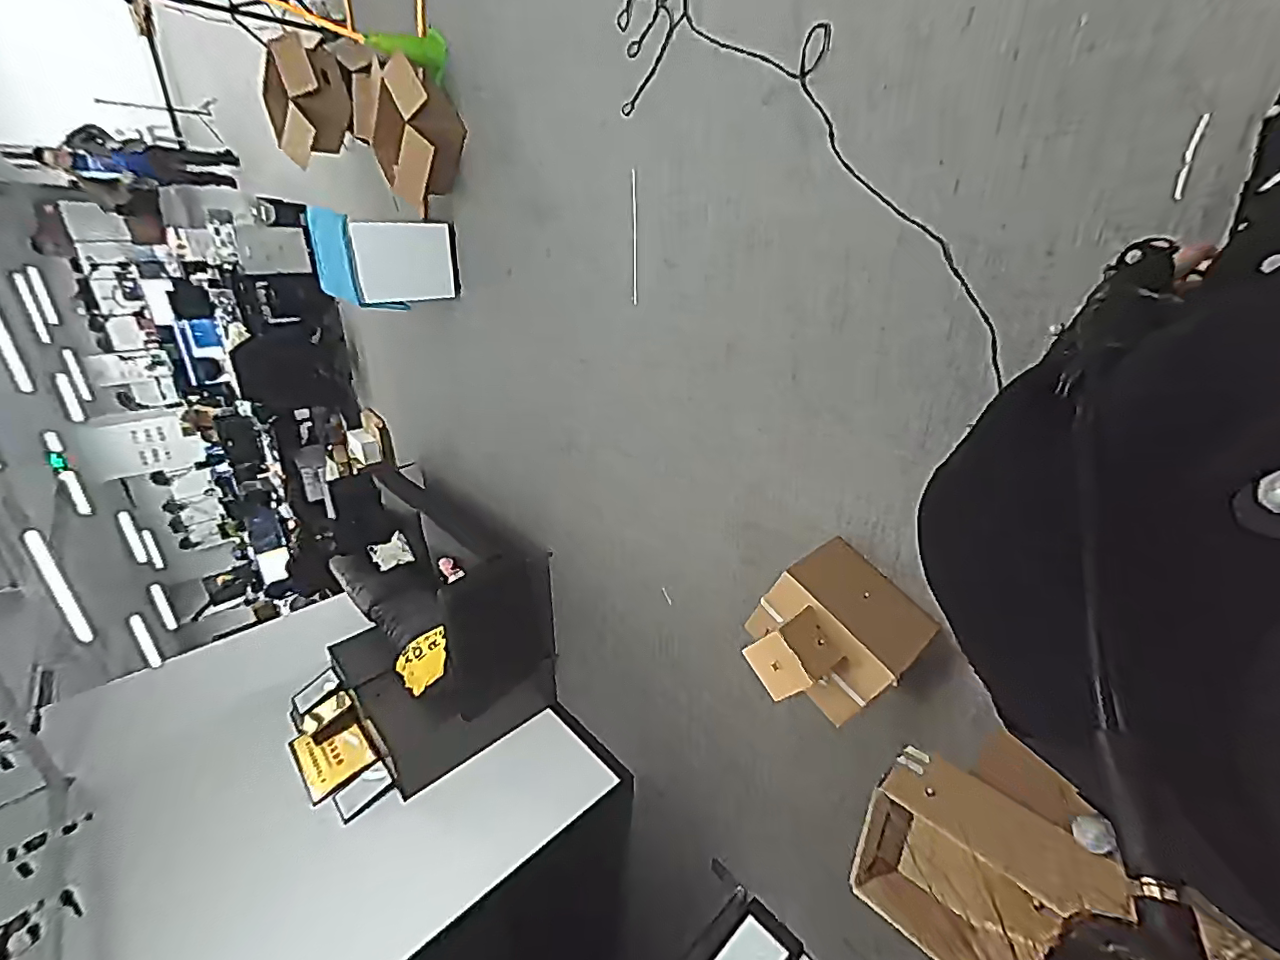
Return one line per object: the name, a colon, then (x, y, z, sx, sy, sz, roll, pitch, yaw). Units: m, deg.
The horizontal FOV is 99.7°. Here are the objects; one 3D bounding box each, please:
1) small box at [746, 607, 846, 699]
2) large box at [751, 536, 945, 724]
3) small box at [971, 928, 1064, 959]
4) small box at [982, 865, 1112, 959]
small box: (0.446, 0.489, 1.538, 0.168, 0.176, 0.179, 56, 138, 18)
large box: (0.636, 0.451, 1.690, 0.408, 0.320, 0.320, 45, 137, 27)
small box: (0.723, 0.998, 0.994, 0.168, 0.176, 0.179, -18, 92, 52)
small box: (0.833, 0.947, 1.105, 0.168, 0.176, 0.179, -9, 99, 52)
